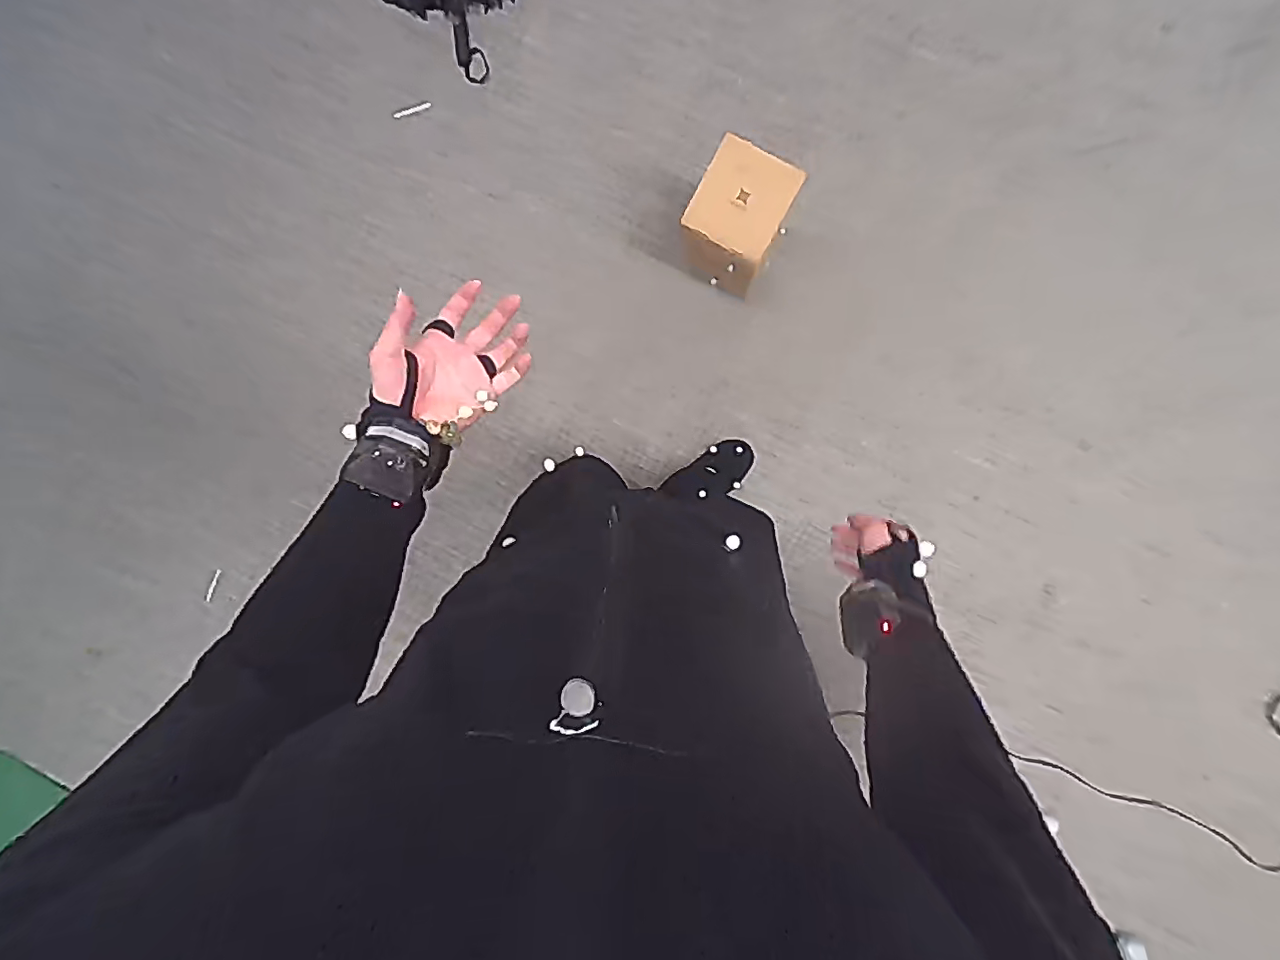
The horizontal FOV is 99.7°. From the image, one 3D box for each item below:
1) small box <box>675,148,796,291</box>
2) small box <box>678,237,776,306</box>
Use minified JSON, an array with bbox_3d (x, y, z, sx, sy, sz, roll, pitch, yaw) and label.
[{"bbox_3d":[0.183,-0.500,1.071,0.168,0.176,0.179,28,98,2],"label":"small box"},{"bbox_3d":[0.201,-0.520,1.232,0.168,0.176,0.179,28,99,2],"label":"small box"}]
